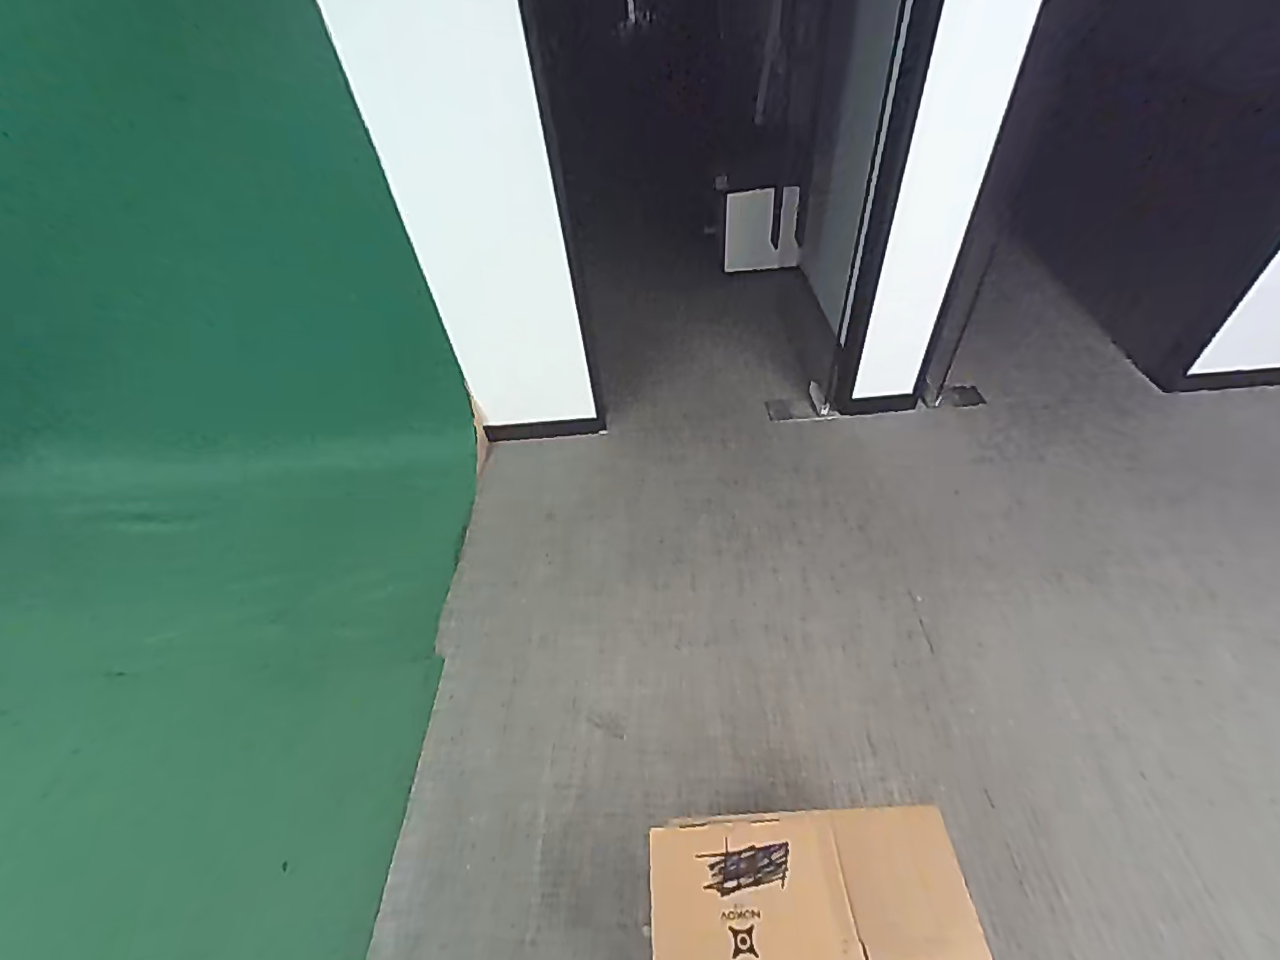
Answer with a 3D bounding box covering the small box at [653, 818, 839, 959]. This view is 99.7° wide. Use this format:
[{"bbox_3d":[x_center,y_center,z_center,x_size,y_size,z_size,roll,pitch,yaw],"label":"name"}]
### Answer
[{"bbox_3d":[0.102,0.471,0.544,0.168,0.176,0.179,-7,39,5],"label":"small box"}]
